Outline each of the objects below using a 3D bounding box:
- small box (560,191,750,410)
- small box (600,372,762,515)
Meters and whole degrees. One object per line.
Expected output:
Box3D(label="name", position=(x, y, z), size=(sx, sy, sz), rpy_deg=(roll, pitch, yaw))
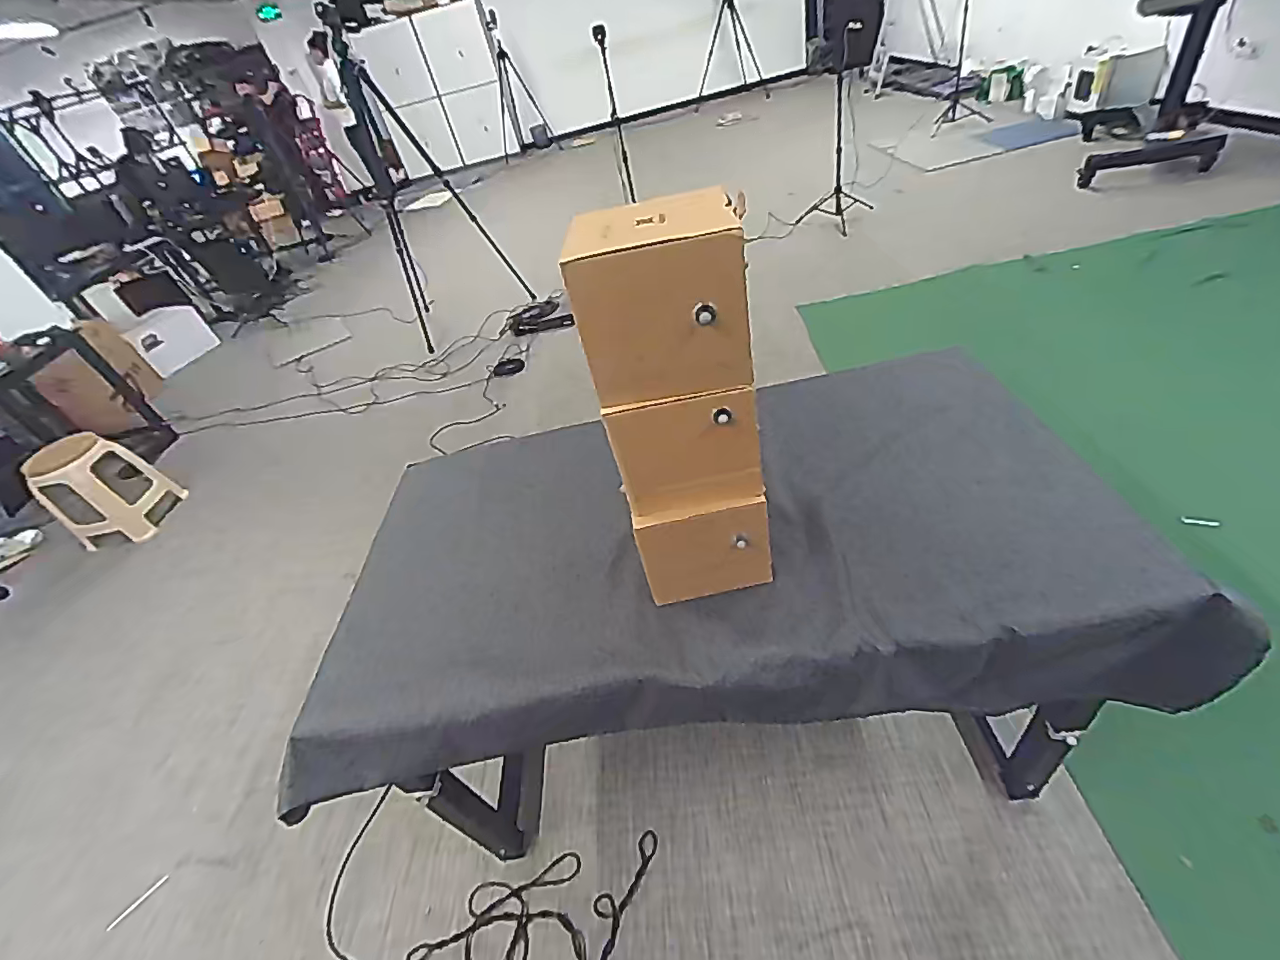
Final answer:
Box3D(label="small box", position=(0.026, -0.199, 0.609), size=(0.179, 0.176, 0.168), rpy_deg=(-9, 38, 8))
Box3D(label="small box", position=(0.054, -0.073, 0.708), size=(0.179, 0.176, 0.168), rpy_deg=(-10, 39, 5))
